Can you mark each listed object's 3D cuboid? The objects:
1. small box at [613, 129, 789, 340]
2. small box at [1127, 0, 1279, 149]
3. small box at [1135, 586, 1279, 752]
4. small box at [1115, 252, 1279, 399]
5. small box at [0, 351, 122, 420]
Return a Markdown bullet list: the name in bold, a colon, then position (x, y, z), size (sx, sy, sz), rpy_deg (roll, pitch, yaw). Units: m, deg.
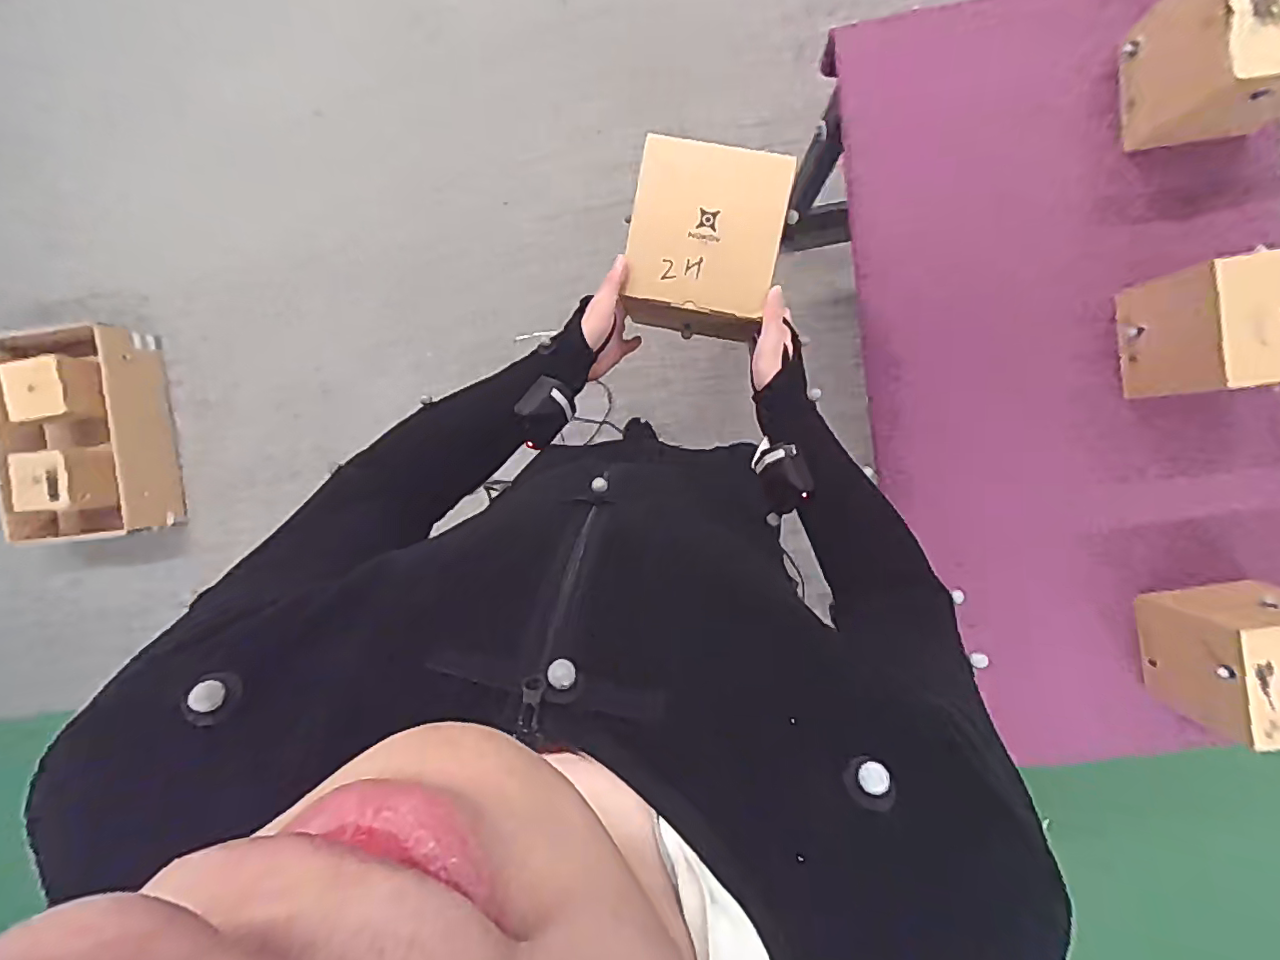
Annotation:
- **small box**: position (0.070, -0.286, 0.665), size (0.168, 0.176, 0.179), rpy_deg (11, 96, 4)
- **small box**: position (0.804, -0.577, 0.725), size (0.179, 0.176, 0.168), rpy_deg (-6, 94, 5)
- **small box**: position (0.877, 0.259, 0.777), size (0.179, 0.176, 0.168), rpy_deg (-9, 92, 4)
- **small box**: position (0.822, -0.210, 0.752), size (0.179, 0.176, 0.168), rpy_deg (-7, 93, 5)
- **small box**: position (-1.706, -0.274, 1.601), size (0.179, 0.176, 0.168), rpy_deg (-9, 93, 3)
